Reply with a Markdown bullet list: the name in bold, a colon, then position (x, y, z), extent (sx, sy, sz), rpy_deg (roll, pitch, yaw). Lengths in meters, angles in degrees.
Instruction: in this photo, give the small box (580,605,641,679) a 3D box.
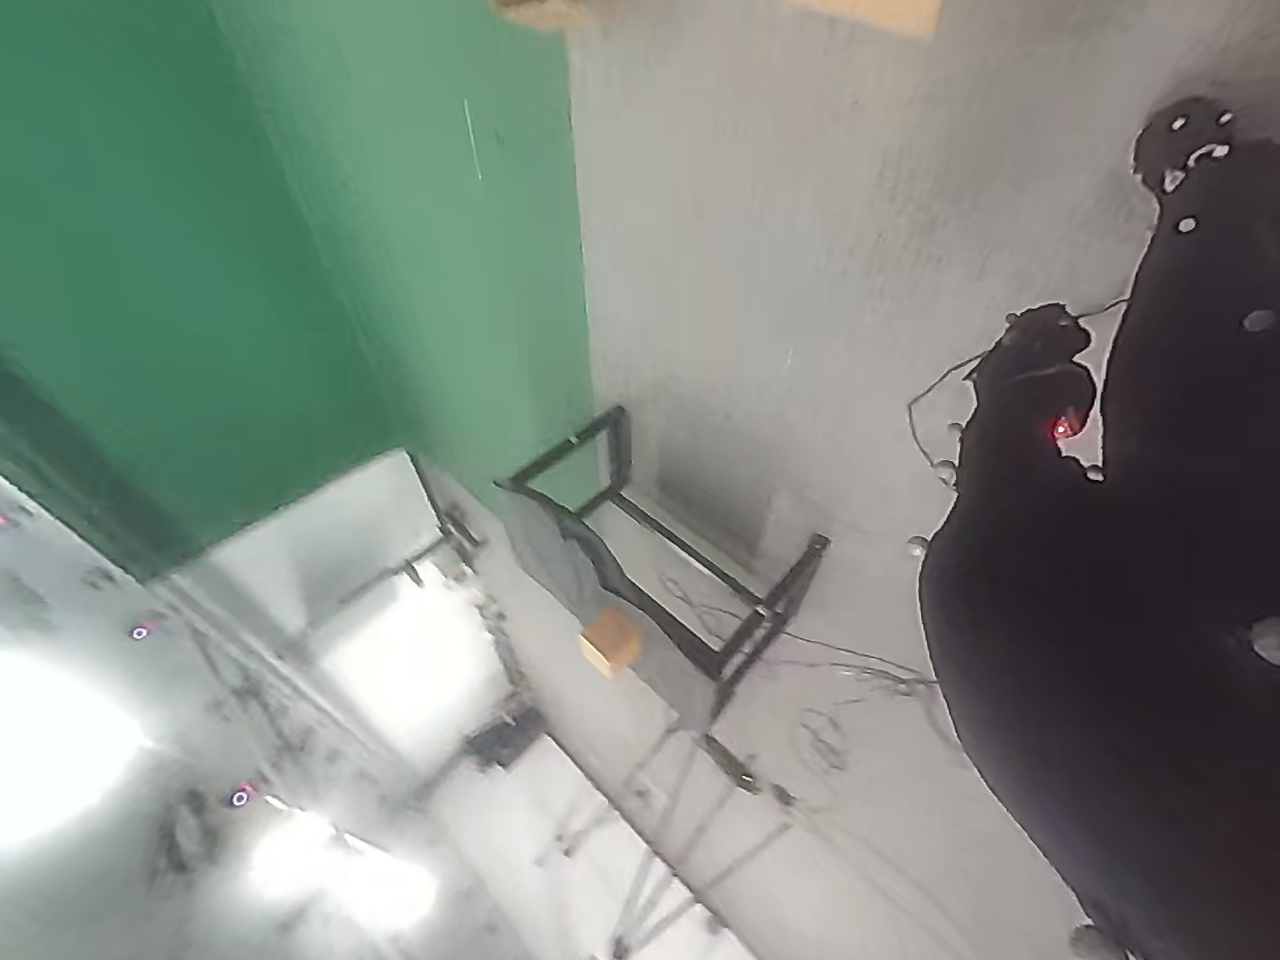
- **small box**: position (-0.110, 0.614, 2.061), extent (0.168, 0.176, 0.179), rpy_deg (36, 146, 27)
